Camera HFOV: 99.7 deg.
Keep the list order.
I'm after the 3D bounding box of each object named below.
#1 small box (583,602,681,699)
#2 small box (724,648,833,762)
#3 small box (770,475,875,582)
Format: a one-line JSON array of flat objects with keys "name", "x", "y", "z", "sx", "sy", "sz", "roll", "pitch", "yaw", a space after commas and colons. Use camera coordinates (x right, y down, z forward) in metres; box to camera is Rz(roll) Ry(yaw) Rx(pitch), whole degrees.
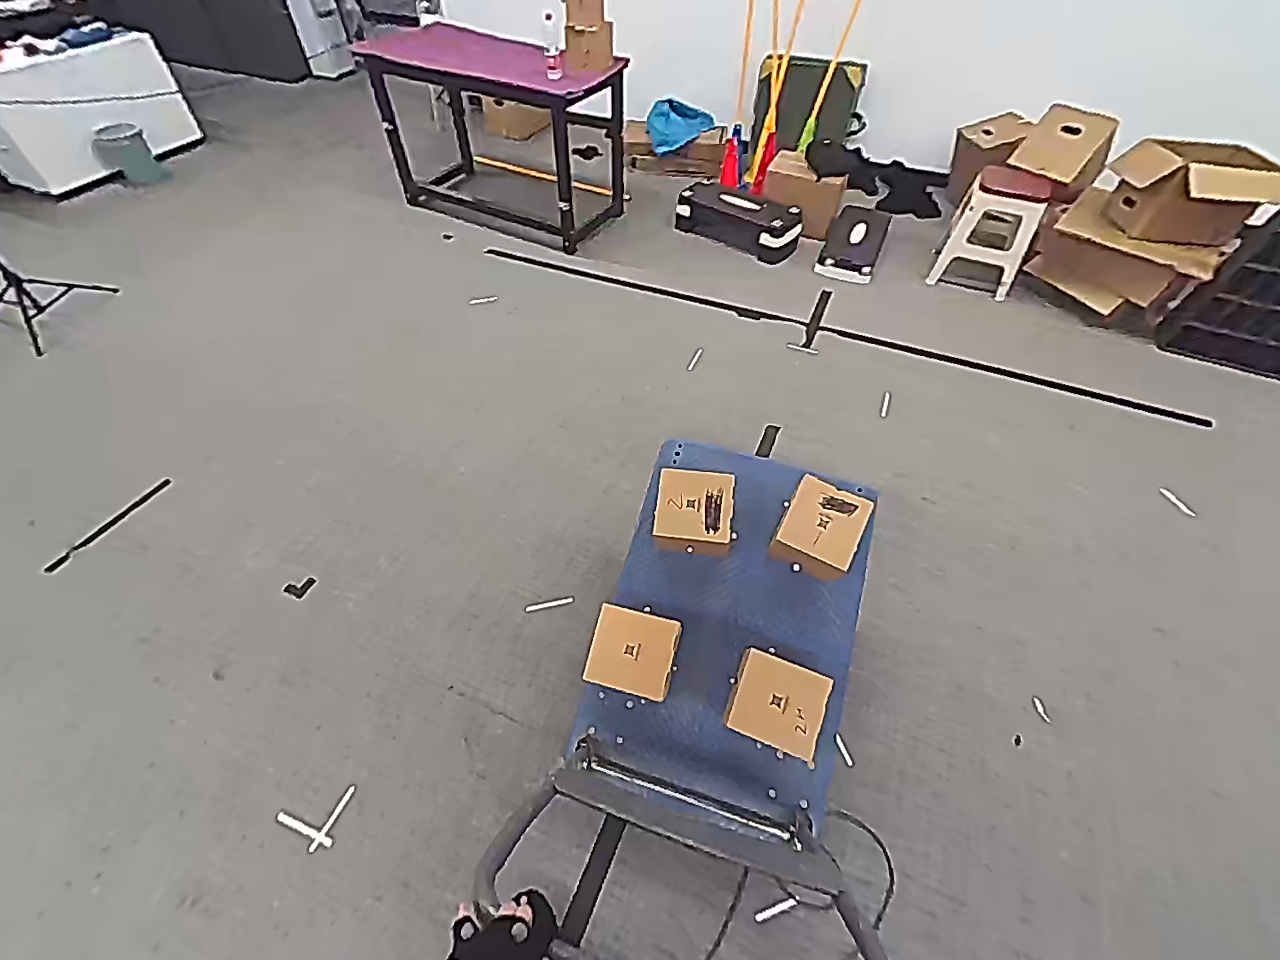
[{"name": "small box", "x": -0.012, "y": 0.386, "z": 1.217, "sx": 0.179, "sy": 0.176, "sz": 0.168, "roll": 13, "pitch": 72, "yaw": 8}, {"name": "small box", "x": 0.287, "y": 0.475, "z": 1.158, "sx": 0.179, "sy": 0.176, "sz": 0.168, "roll": 20, "pitch": 74, "yaw": 12}, {"name": "small box", "x": 0.420, "y": 0.120, "z": 1.275, "sx": 0.168, "sy": 0.176, "sz": 0.179, "roll": 26, "pitch": 76, "yaw": 13}]
